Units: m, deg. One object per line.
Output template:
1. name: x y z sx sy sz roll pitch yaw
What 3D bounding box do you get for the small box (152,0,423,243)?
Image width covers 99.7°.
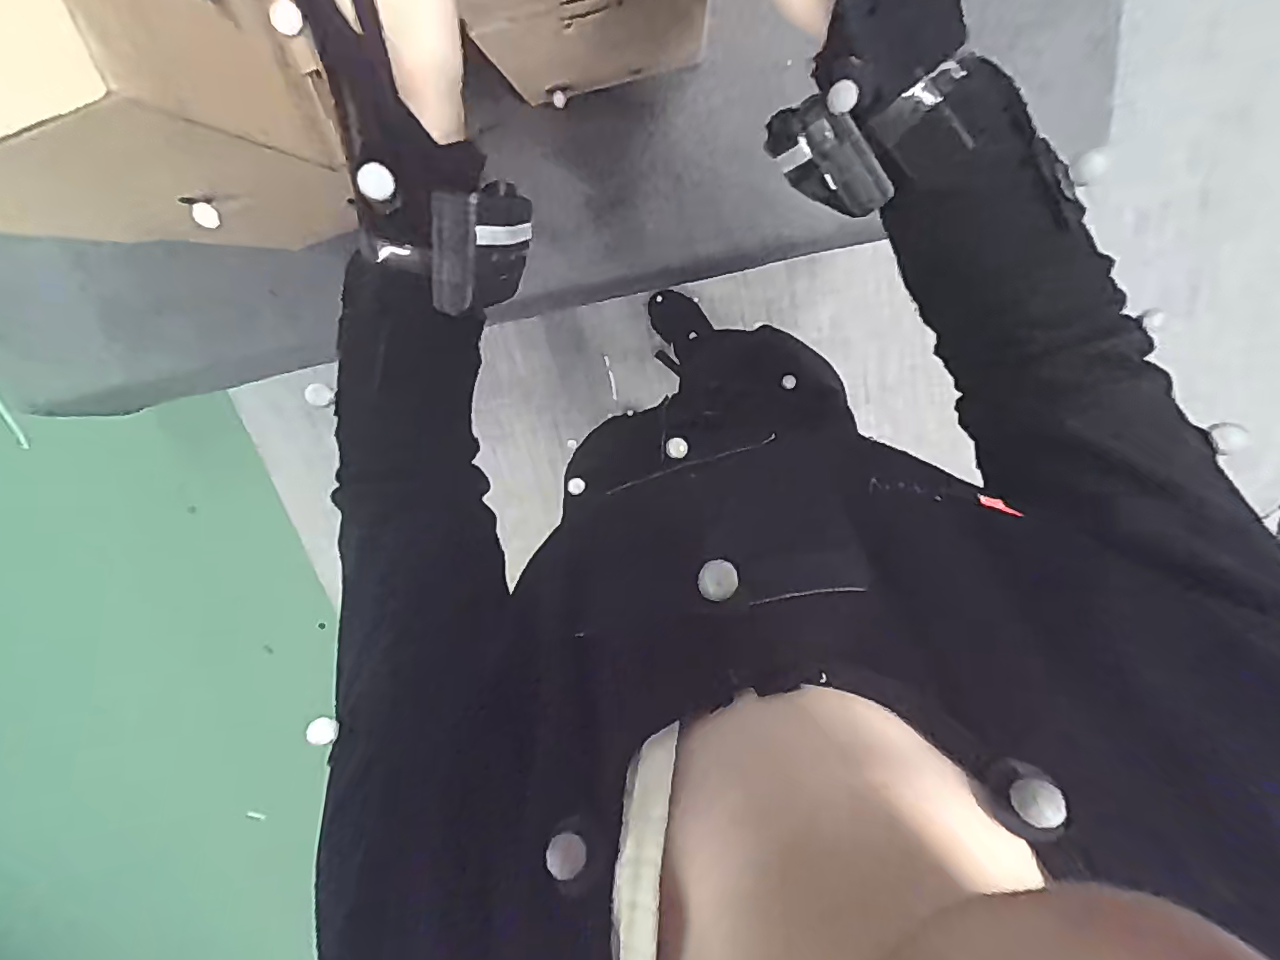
1. small box: -0.309 -0.310 0.452 0.179 0.176 0.168 -14 108 10

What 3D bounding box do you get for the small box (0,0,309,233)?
1. small box: -0.326 -0.251 0.299 0.179 0.176 0.168 -14 108 8

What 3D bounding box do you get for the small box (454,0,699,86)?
1. small box: -0.048 -0.417 0.389 0.168 0.176 0.179 -9 109 7
